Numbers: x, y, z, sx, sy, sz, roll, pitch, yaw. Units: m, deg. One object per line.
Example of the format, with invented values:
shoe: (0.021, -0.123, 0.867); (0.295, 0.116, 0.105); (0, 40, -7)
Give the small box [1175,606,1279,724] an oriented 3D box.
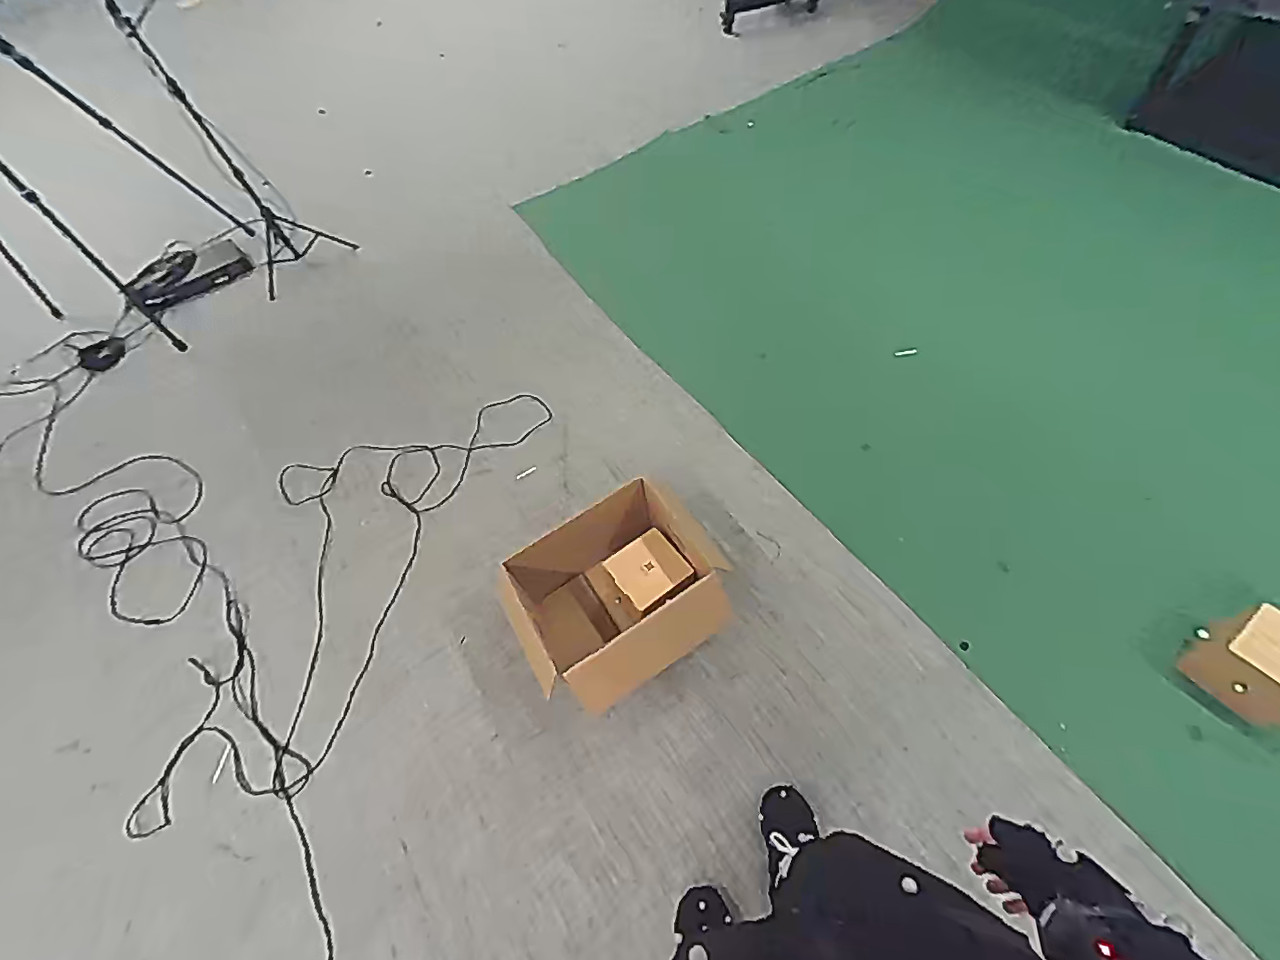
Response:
small box: (1.373, 0.416, 1.197); (0.168, 0.176, 0.179); (-35, 60, -15)
